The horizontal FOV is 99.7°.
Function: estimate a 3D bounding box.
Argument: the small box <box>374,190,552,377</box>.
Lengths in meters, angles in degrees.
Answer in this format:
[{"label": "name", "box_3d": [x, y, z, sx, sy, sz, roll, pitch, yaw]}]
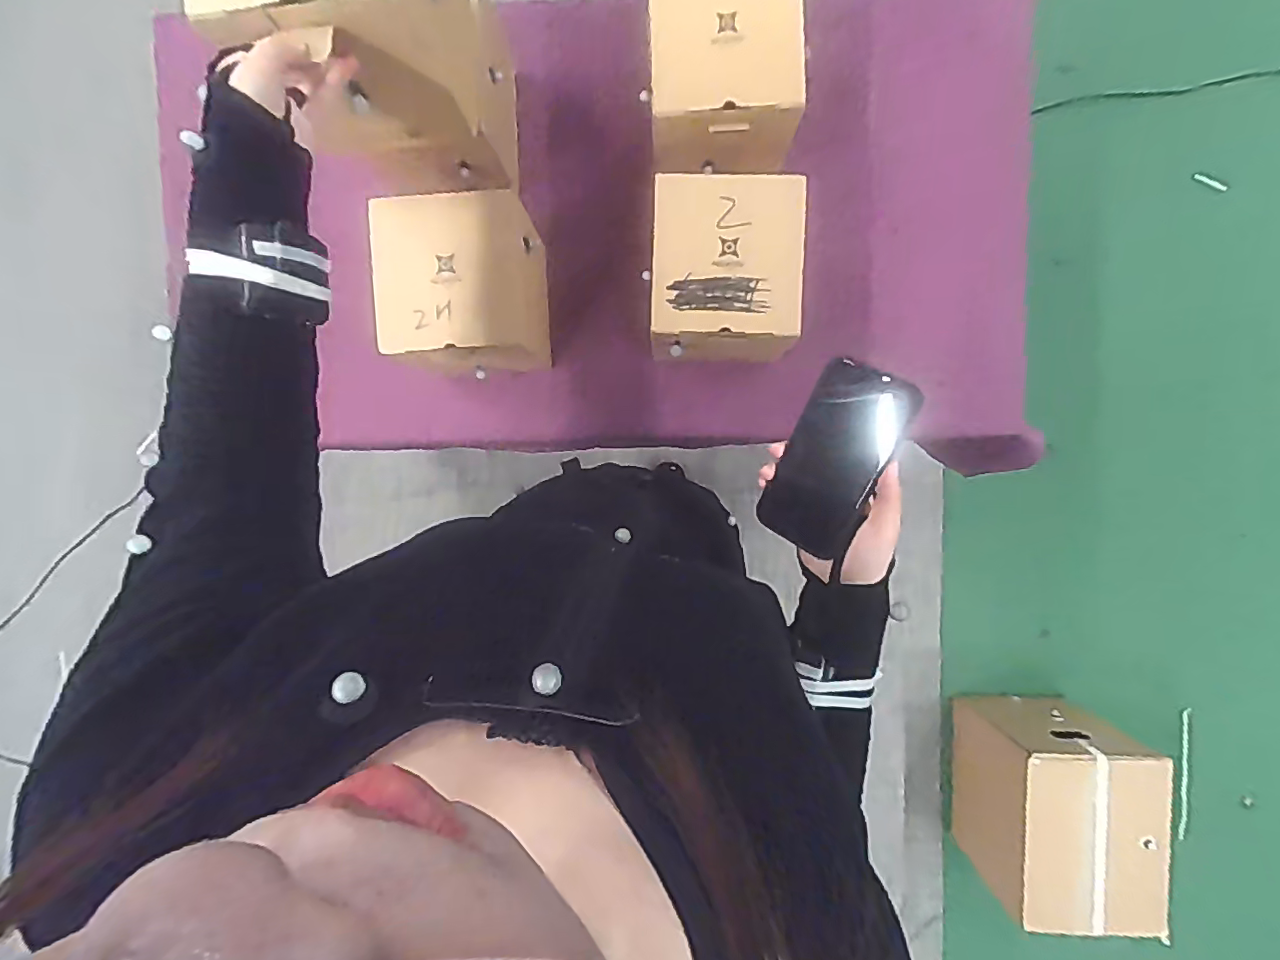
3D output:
[{"label": "small box", "box_3d": [-0.211, -0.234, 0.683, 0.168, 0.176, 0.179, -3, 92, 3]}]

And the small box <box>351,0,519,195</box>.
[{"label": "small box", "box_3d": [-0.251, -0.475, 0.674, 0.168, 0.176, 0.179, 0, 93, 1]}]

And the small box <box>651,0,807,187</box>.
[{"label": "small box", "box_3d": [0.098, -0.490, 0.660, 0.168, 0.176, 0.179, -3, 94, 2]}]

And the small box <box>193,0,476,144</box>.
[{"label": "small box", "box_3d": [-0.256, -0.433, 0.485, 0.168, 0.176, 0.179, -4, 88, 3]}]
